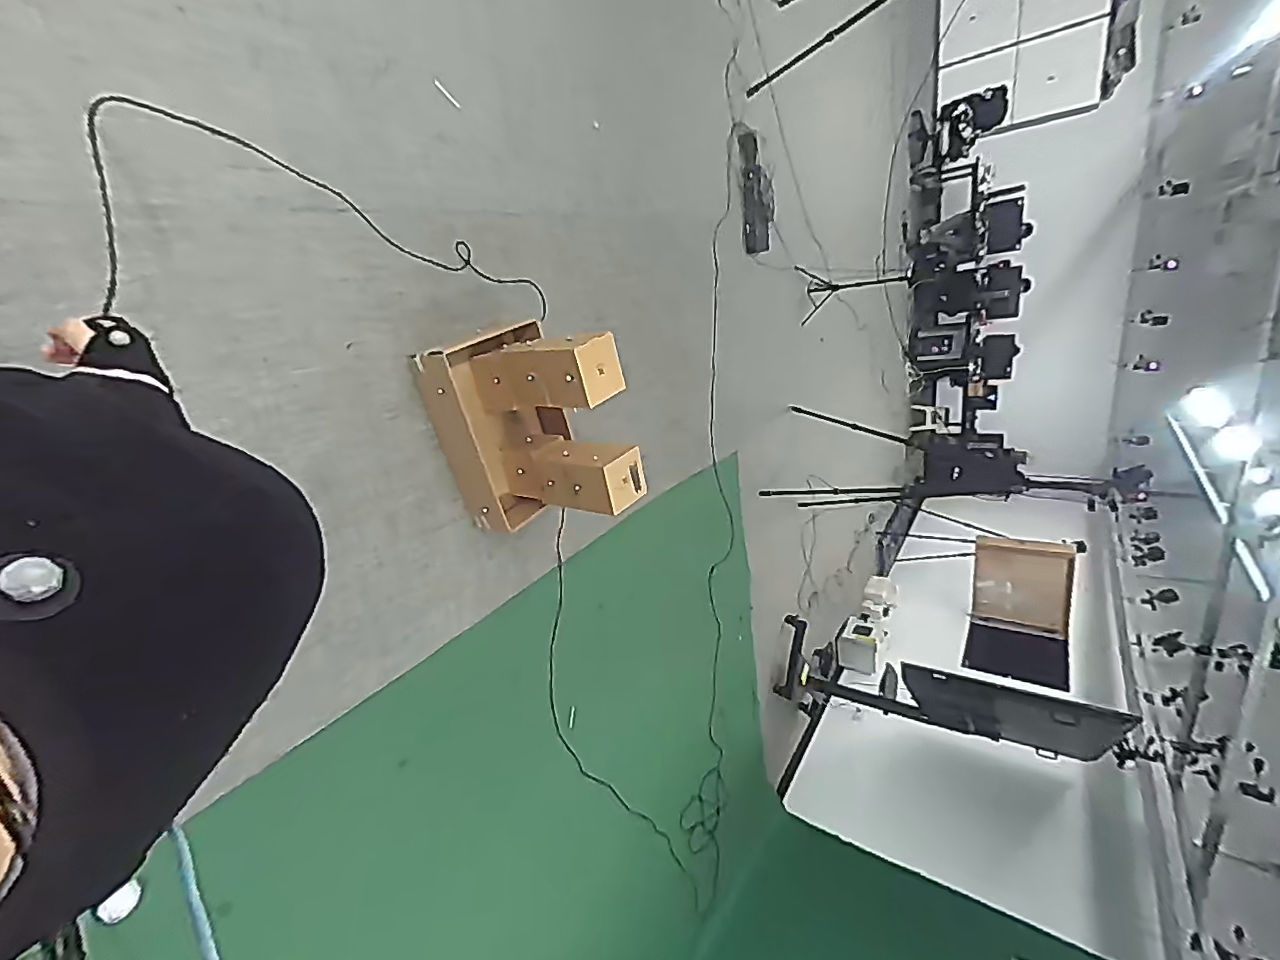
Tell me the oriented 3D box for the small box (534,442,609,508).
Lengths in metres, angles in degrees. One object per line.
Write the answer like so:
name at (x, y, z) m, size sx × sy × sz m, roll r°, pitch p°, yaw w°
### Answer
small box at (-0.234, -0.022, 1.811) m, size 0.179 × 0.176 × 0.168 m, roll -36°, pitch 123°, yaw -46°

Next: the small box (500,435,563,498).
small box at (-0.367, -0.049, 1.905) m, size 0.168 × 0.176 × 0.179 m, roll -35°, pitch 121°, yaw -45°

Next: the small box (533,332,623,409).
small box at (-0.180, -0.320, 1.575) m, size 0.168 × 0.176 × 0.179 m, roll -40°, pitch 124°, yaw -41°

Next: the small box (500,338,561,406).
small box at (-0.308, -0.334, 1.673) m, size 0.168 × 0.176 × 0.179 m, roll -34°, pitch 122°, yaw -44°
